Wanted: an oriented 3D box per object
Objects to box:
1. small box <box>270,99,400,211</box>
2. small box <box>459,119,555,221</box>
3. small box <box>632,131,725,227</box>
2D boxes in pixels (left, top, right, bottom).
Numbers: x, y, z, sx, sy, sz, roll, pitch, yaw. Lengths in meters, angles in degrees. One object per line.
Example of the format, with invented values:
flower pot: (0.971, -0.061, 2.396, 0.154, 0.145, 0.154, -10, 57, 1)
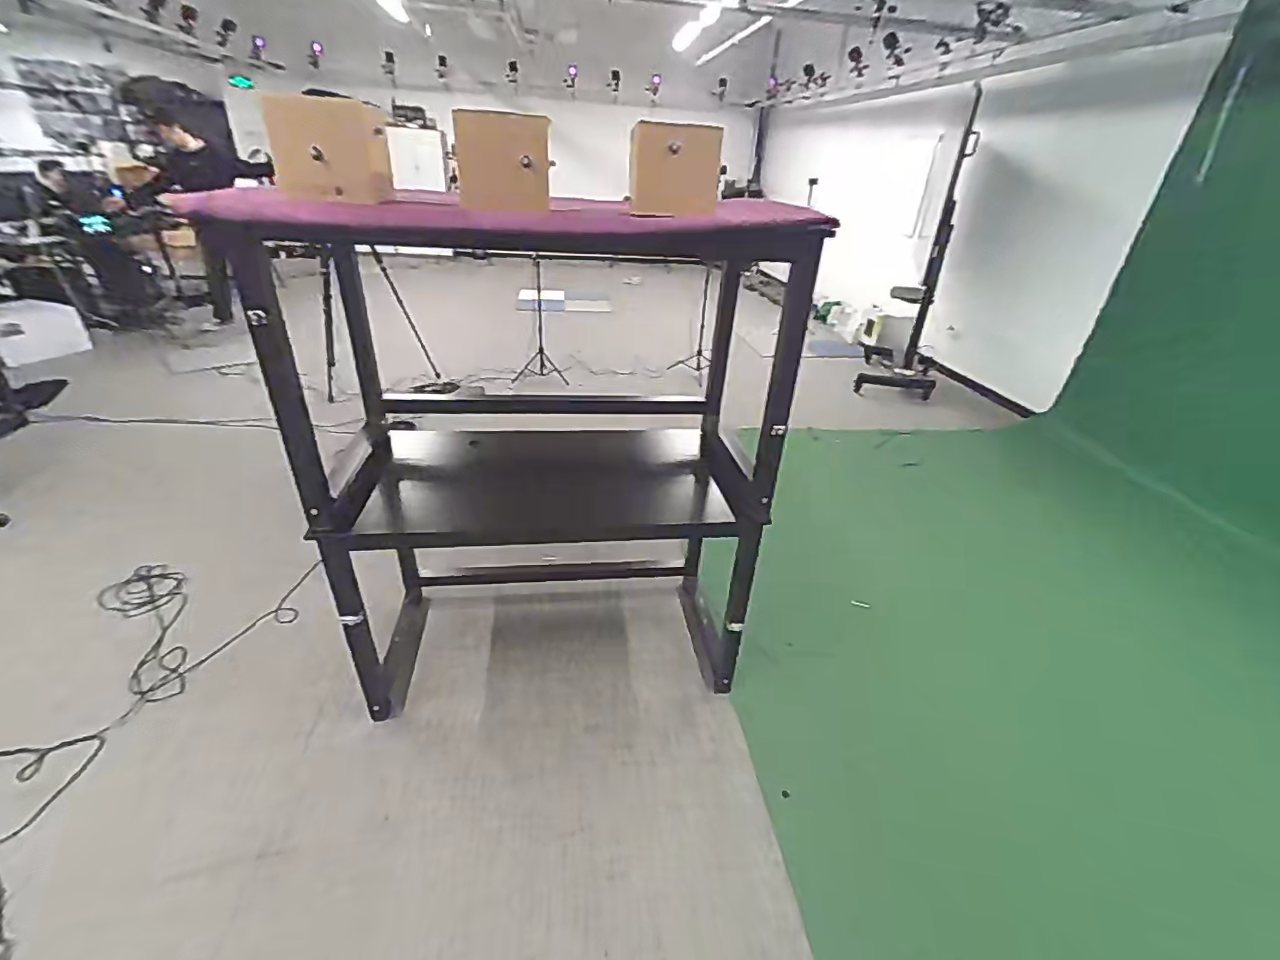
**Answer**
small box: (-0.581, -0.630, 1.059, 0.168, 0.176, 0.179, 0, 30, -10)
small box: (-0.265, -0.634, 1.117, 0.179, 0.176, 0.168, -2, 29, -9)
small box: (0.076, -0.653, 1.188, 0.179, 0.176, 0.168, 0, 27, -7)
